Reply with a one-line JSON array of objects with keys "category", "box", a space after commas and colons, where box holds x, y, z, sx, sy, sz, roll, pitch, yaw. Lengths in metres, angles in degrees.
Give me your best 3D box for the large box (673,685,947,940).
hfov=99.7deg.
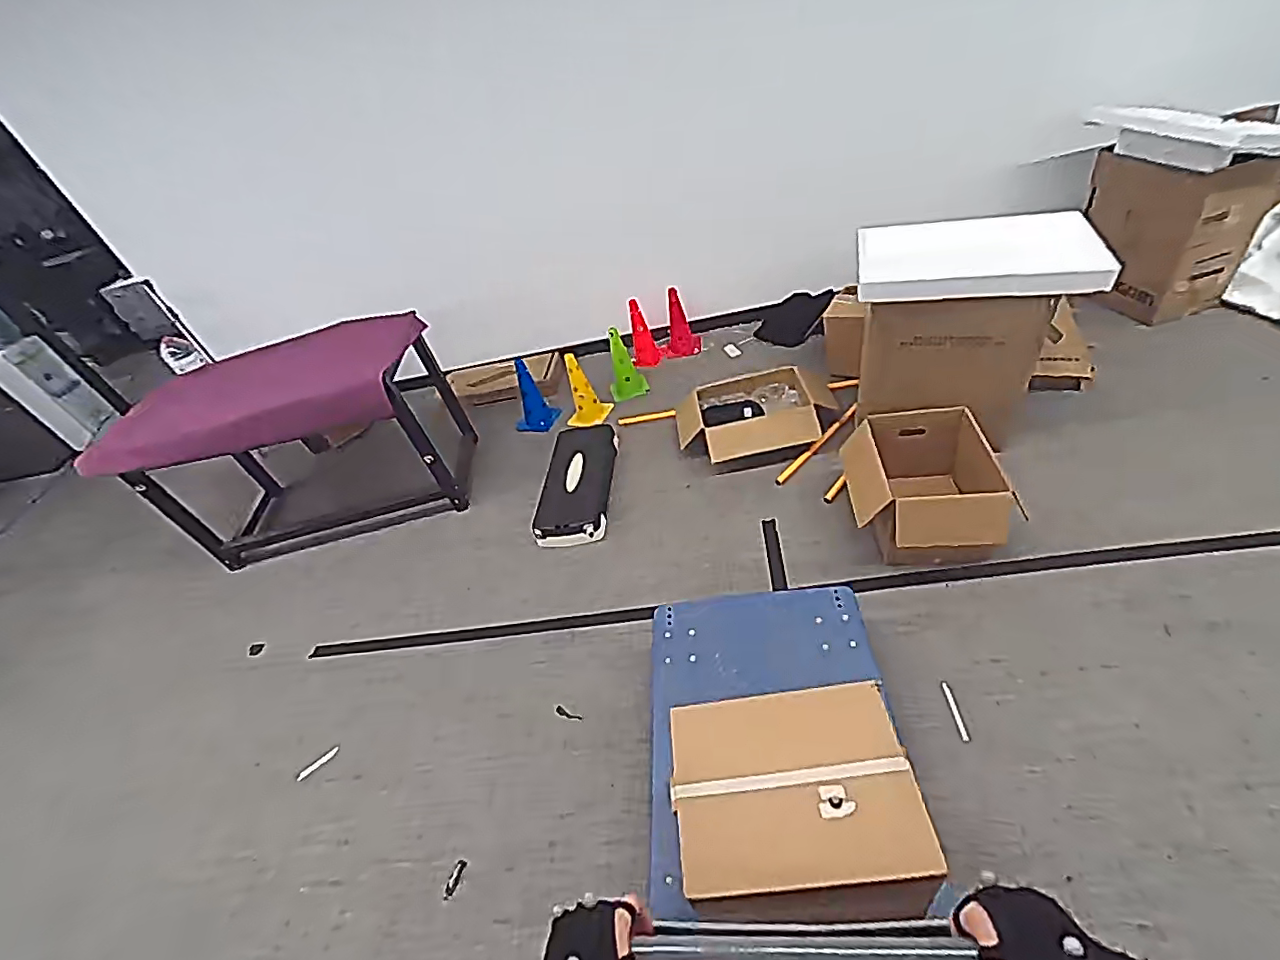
[{"category": "large box", "box": [0.294, 0.642, 1.041, 0.408, 0.320, 0.320, -10, 41, 6]}]
